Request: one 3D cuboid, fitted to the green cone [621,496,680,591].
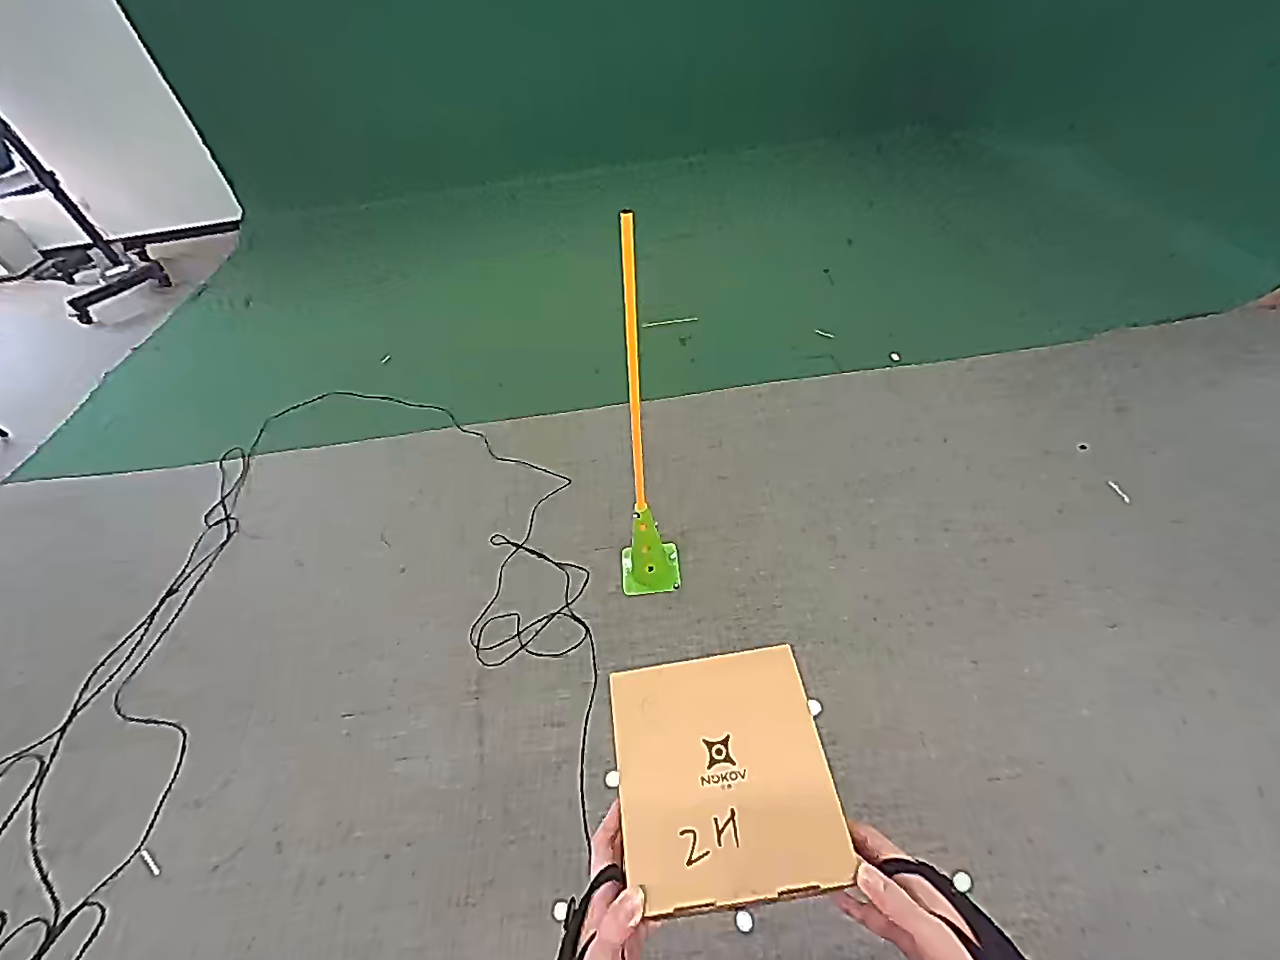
[{"bbox_3d":[0.014,0.180,1.783,0.202,0.368,0.200,-7,46,2],"label":"green cone"}]
